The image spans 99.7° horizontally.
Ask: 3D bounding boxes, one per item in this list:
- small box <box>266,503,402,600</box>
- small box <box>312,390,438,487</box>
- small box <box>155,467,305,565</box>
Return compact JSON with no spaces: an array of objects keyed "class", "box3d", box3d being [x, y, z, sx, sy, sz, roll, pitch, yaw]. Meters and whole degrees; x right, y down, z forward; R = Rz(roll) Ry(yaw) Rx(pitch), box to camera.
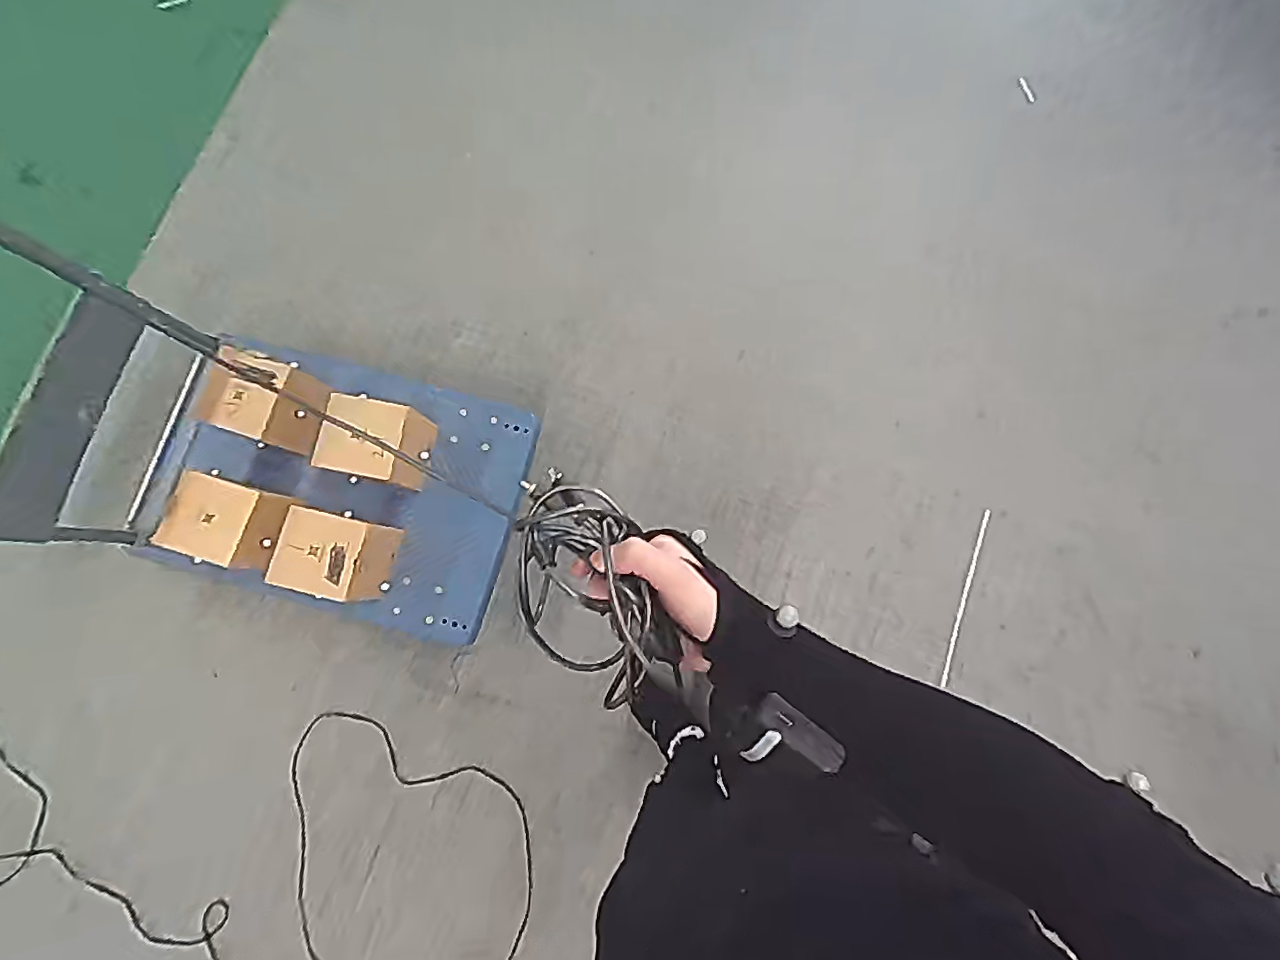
[{"class":"small box","box3d":[-0.652,0.156,1.178,0.179,0.176,0.168,13,80,4]},{"class":"small box","box3d":[-0.586,-0.086,1.219,0.179,0.176,0.168,11,81,3]},{"class":"small box","box3d":[-0.891,0.084,1.195,0.179,0.176,0.168,17,81,4]}]
